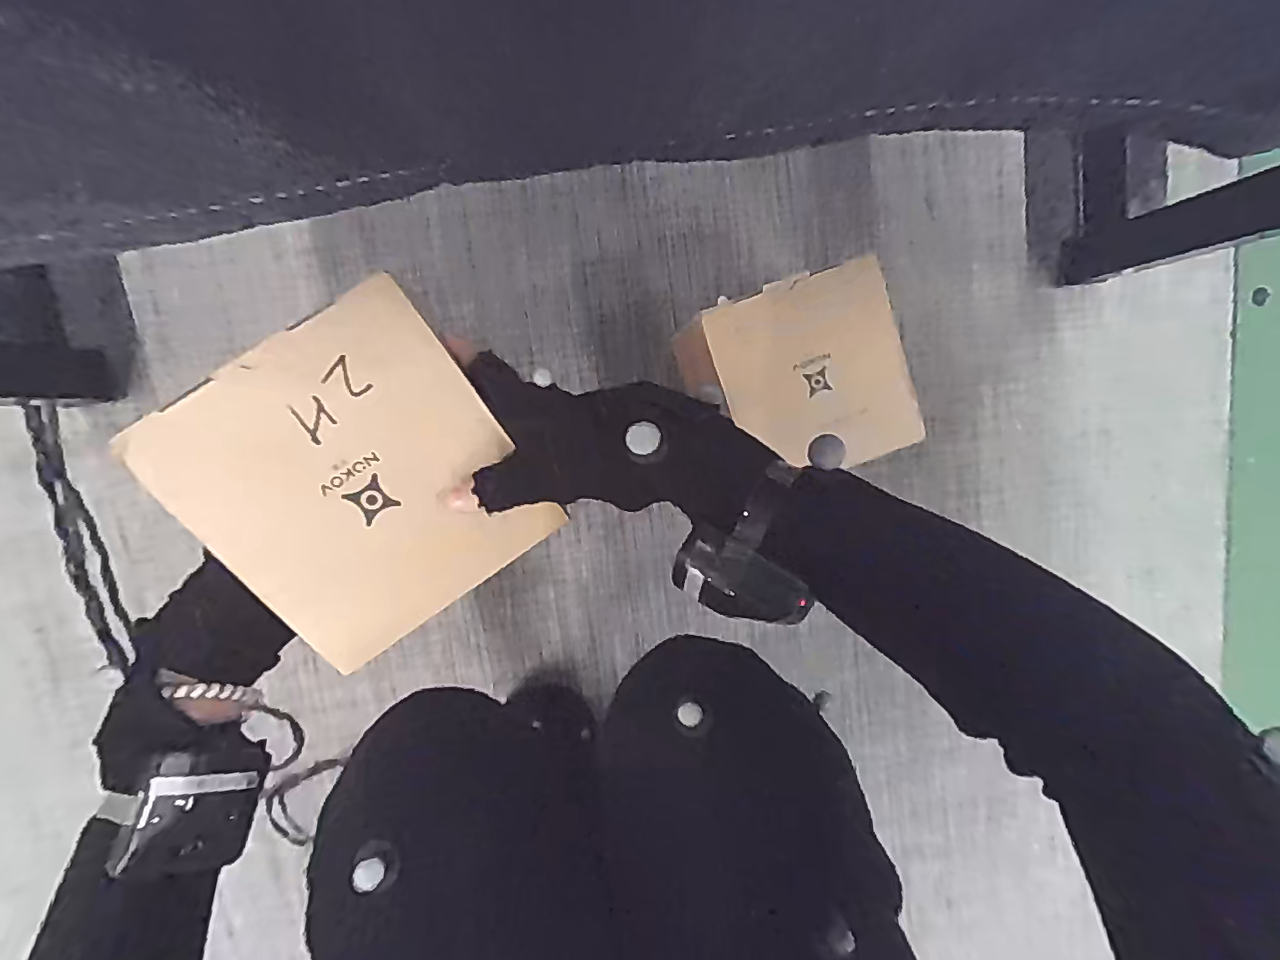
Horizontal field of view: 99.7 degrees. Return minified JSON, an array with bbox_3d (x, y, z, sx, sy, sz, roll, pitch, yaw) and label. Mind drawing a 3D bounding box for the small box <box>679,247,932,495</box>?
[{"bbox_3d":[0.149,-0.101,0.545,0.168,0.176,0.179,-20,98,-2],"label":"small box"}]
